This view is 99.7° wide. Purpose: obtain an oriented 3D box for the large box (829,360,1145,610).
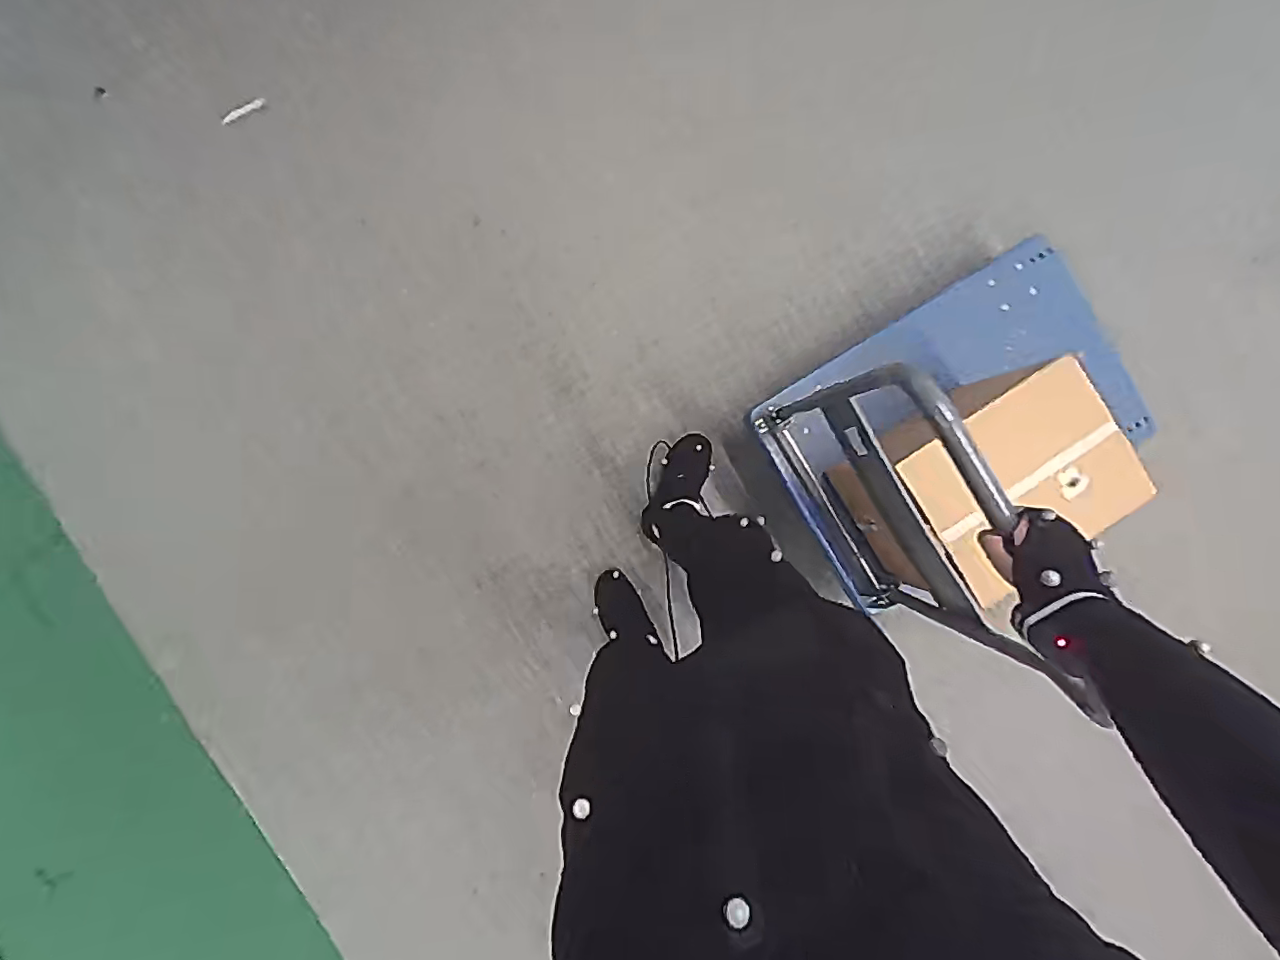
[{"bbox_3d":[0.698,0.013,1.149,0.408,0.320,0.320,-32,92,-5],"label":"large box"}]
